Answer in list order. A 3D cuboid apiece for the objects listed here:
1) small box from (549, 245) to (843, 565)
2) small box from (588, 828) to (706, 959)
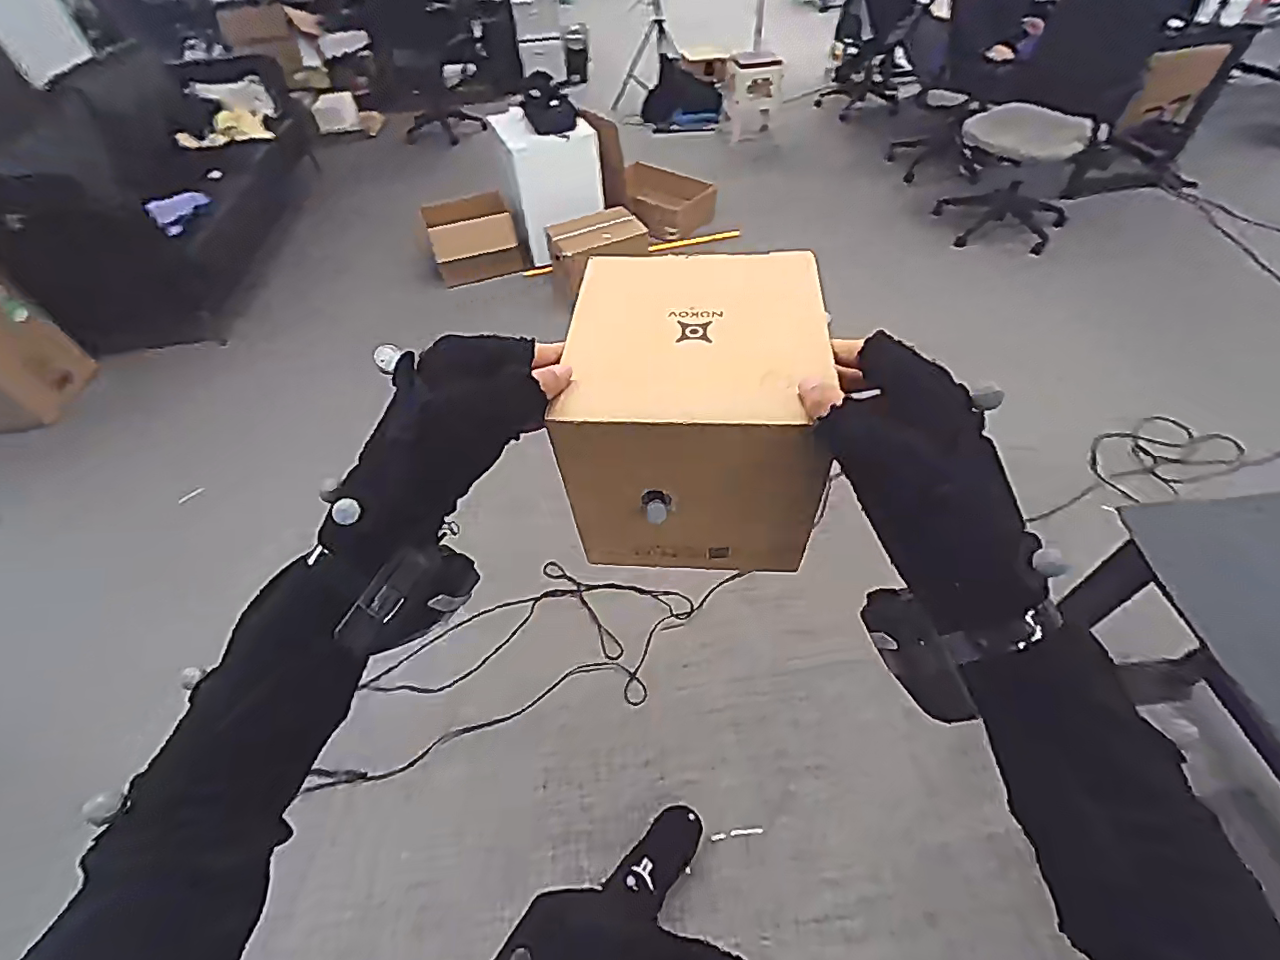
[{"bbox_3d":[0.044,-0.051,0.407,0.168,0.176,0.179,2,52,7],"label":"small box"},{"bbox_3d":[0.023,0.857,1.104,0.179,0.176,0.168,-34,70,-6],"label":"small box"}]
